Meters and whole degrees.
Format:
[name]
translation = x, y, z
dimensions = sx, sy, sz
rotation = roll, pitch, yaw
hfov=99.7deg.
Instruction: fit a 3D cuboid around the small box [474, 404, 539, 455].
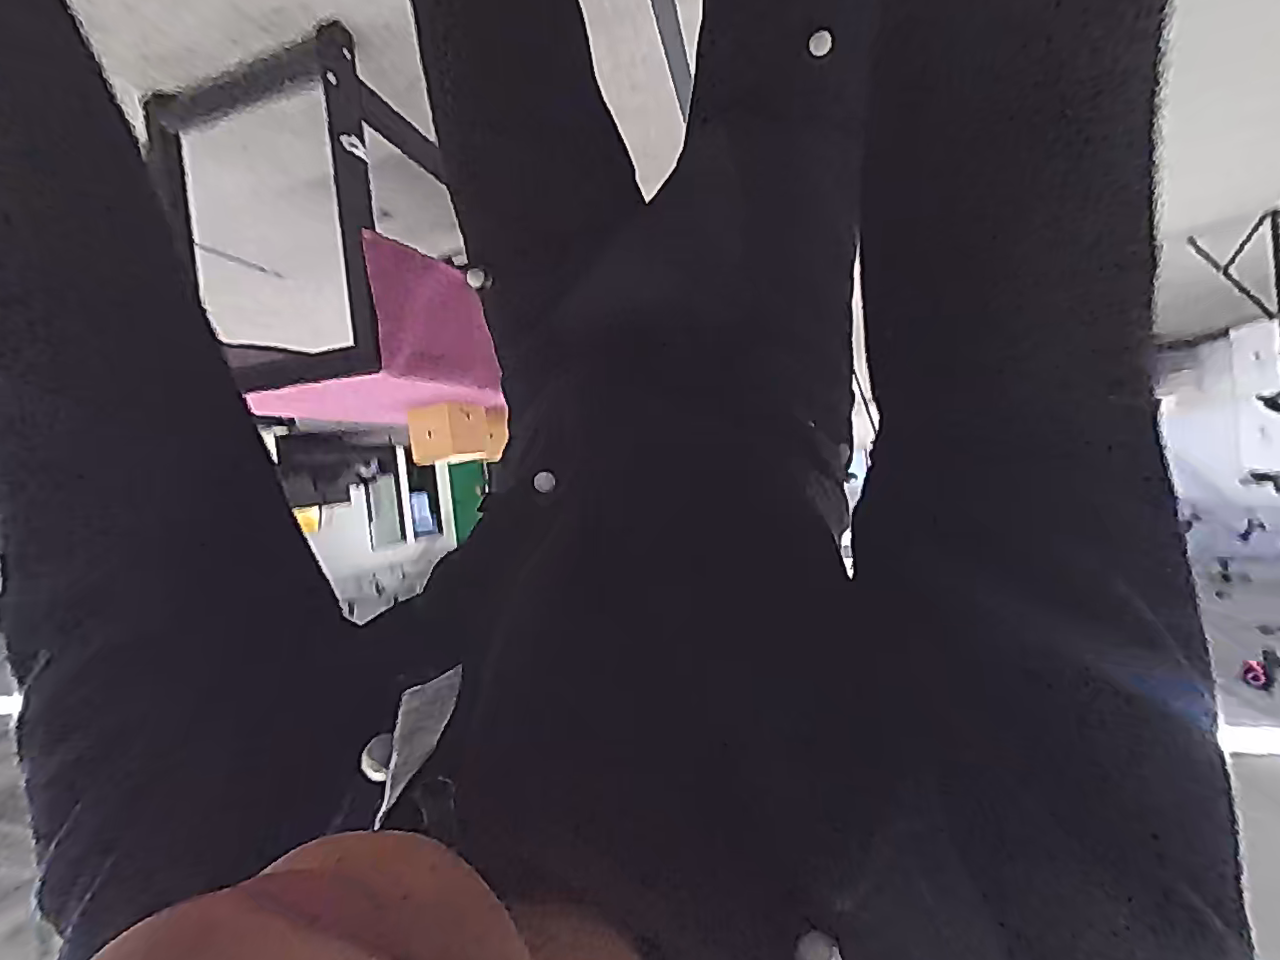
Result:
[small box]
translation = -0.504, -0.187, 2.028
dimensions = 0.179, 0.176, 0.168
rotation = -6, -178, 29
